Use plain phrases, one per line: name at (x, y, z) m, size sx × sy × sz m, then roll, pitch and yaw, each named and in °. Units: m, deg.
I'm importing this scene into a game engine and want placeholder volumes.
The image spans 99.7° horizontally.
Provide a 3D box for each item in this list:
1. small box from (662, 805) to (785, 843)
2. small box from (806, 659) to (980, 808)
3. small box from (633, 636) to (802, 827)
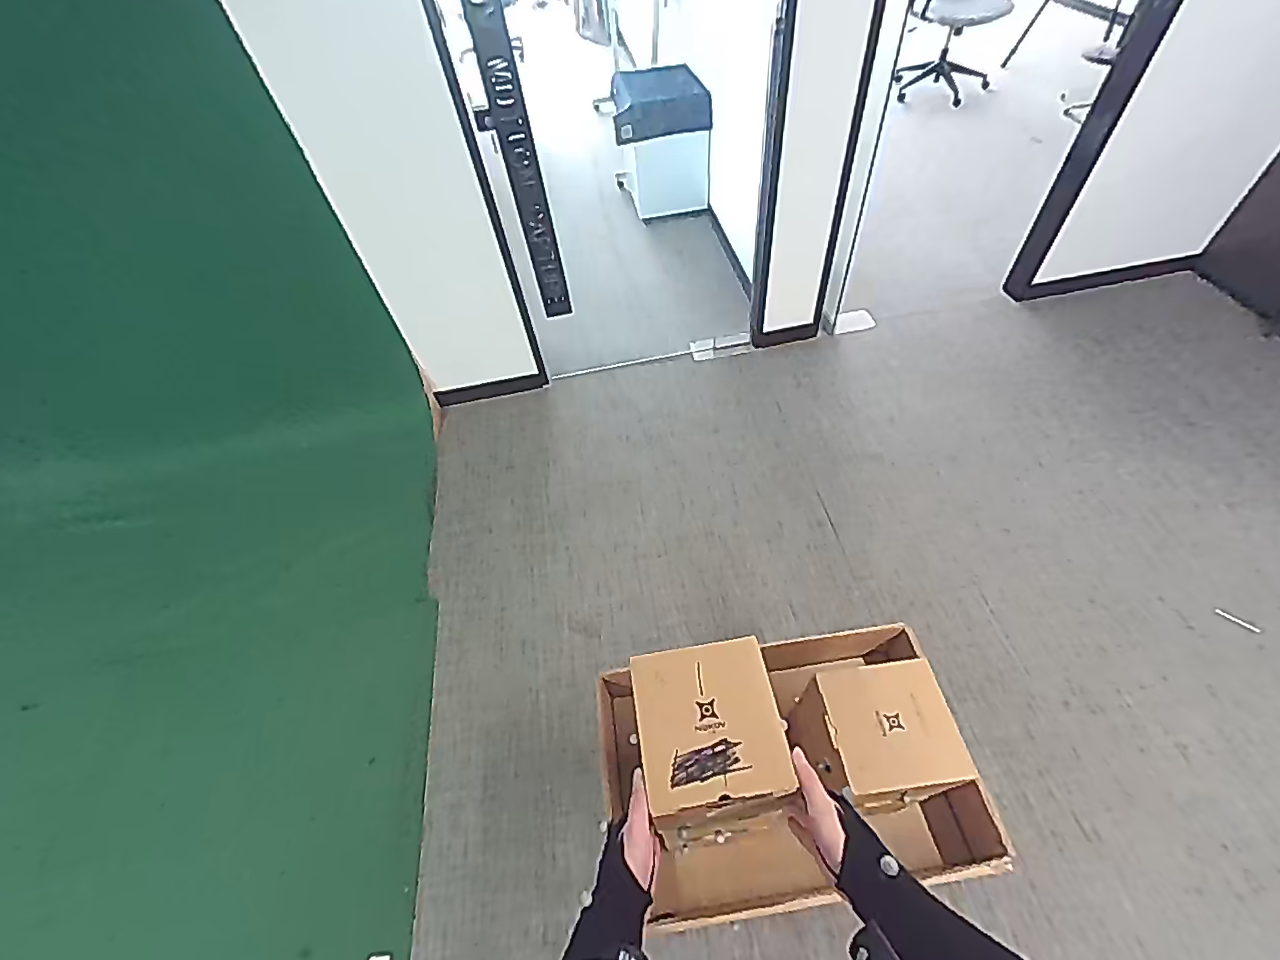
small box at (0.105, 0.429, 0.819) m, size 0.168 × 0.176 × 0.179 m, roll -9°, pitch 52°, yaw -1°
small box at (0.364, 0.392, 0.826) m, size 0.179 × 0.176 × 0.168 m, roll -7°, pitch 53°, yaw -1°
small box at (0.088, 0.321, 0.680) m, size 0.168 × 0.176 × 0.179 m, roll -9°, pitch 51°, yaw -2°
